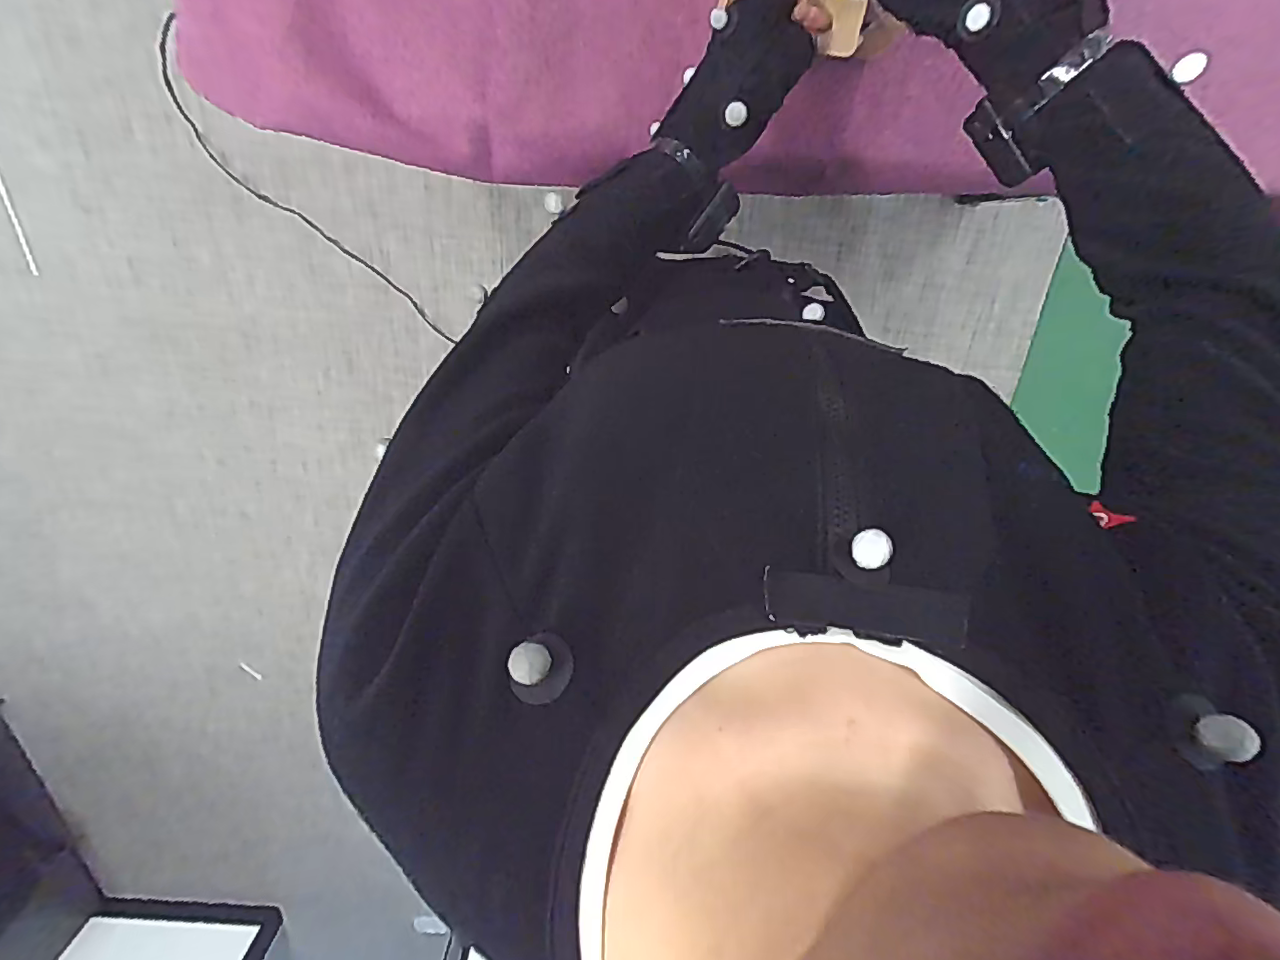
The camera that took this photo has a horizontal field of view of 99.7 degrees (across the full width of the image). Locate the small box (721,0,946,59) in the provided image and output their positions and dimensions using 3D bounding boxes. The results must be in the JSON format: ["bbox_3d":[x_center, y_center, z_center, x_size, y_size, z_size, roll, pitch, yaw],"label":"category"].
[{"bbox_3d":[0.163,-0.475,0.440,0.168,0.176,0.179,5,114,-1],"label":"small box"}]
